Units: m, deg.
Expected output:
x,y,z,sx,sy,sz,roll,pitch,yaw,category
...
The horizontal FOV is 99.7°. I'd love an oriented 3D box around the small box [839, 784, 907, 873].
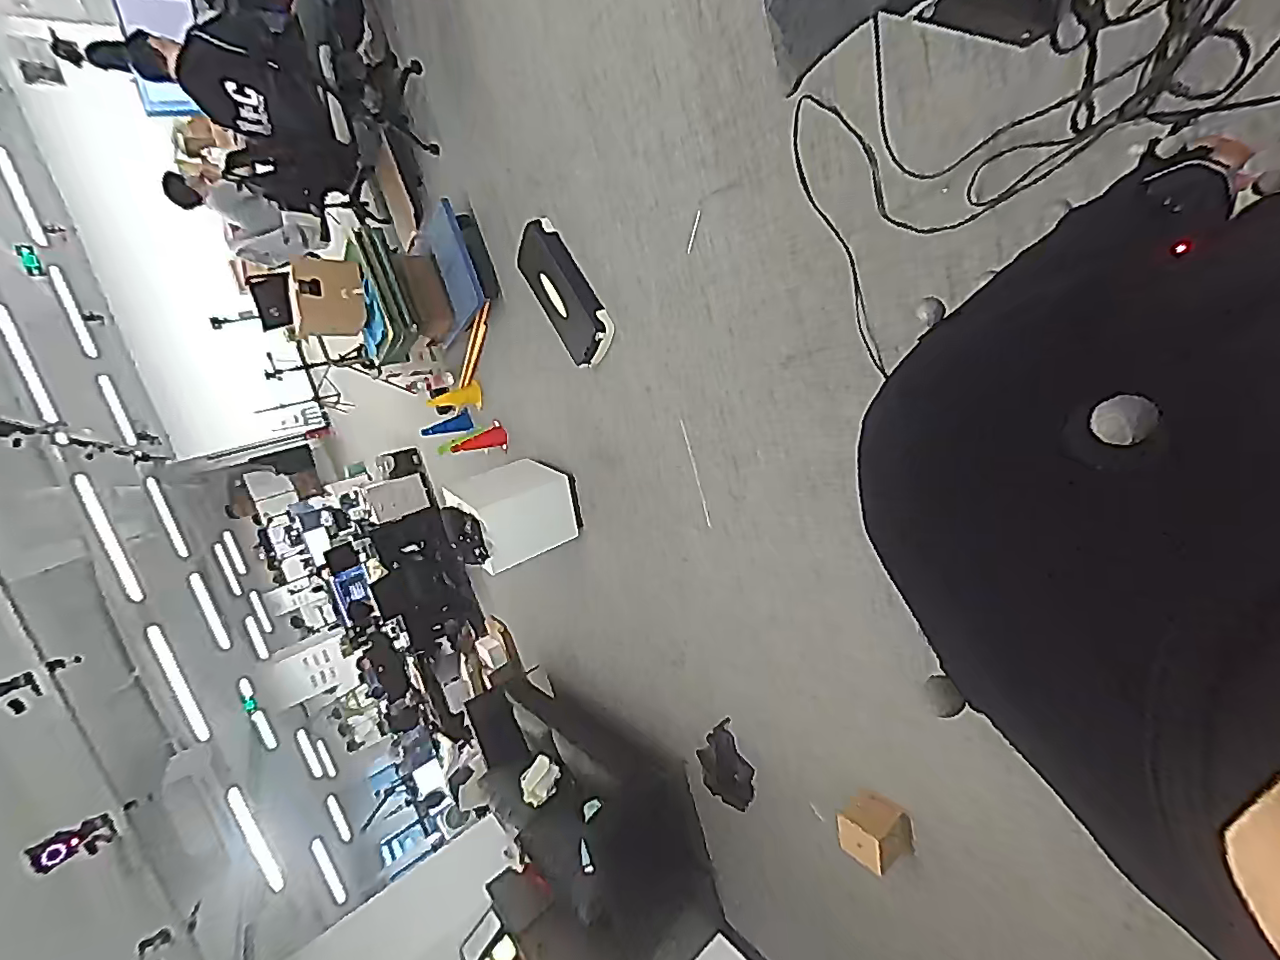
x,y,z,sx,sy,sz,roll,pitch,yaw,category
0.856,1.266,1.979,0.168,0.176,0.179,12,119,54,small box
